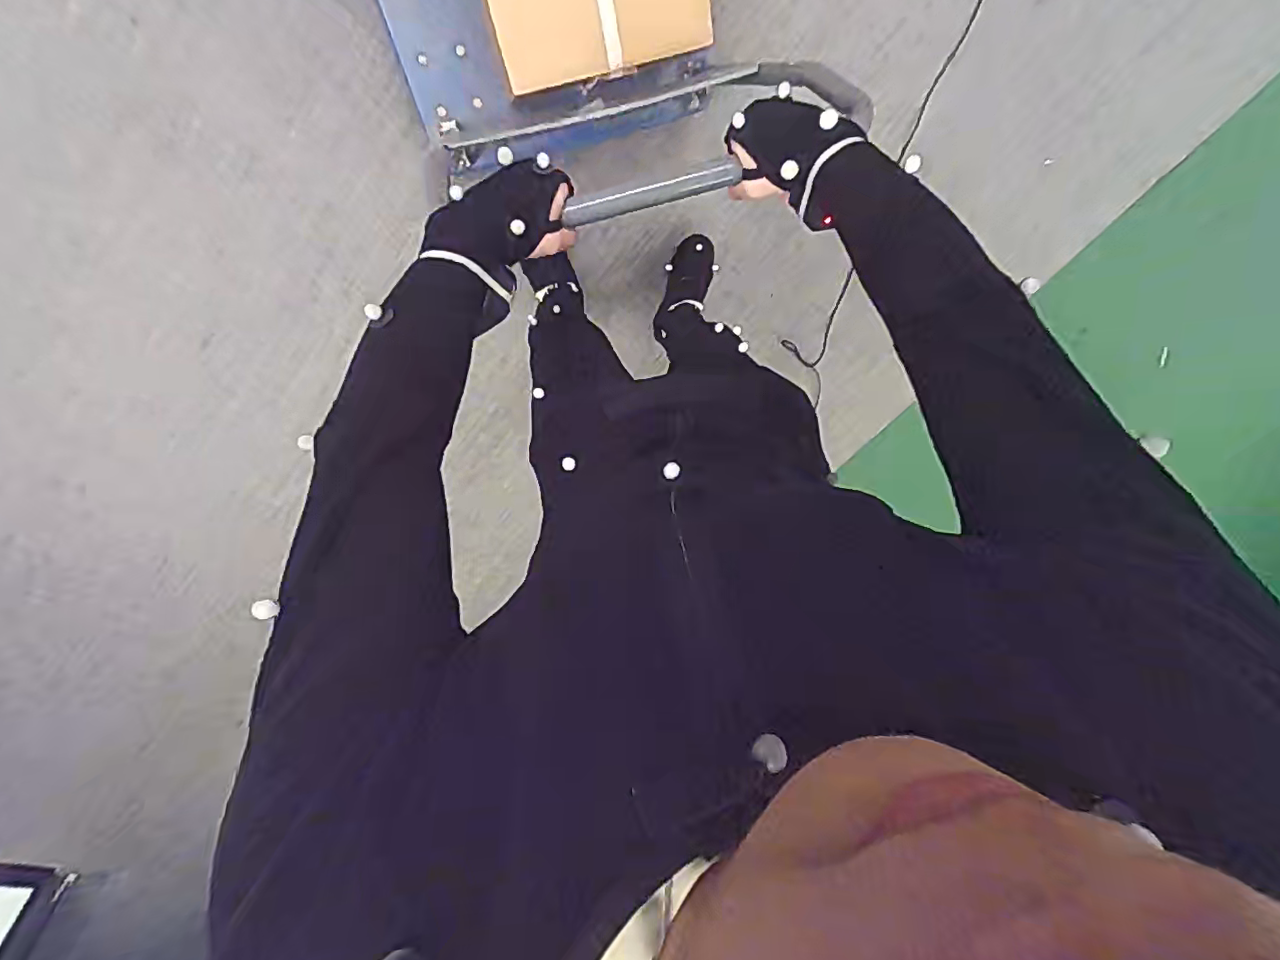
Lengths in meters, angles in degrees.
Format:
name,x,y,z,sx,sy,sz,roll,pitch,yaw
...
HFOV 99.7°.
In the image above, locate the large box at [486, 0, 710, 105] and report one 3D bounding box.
name,x,y,z,sx,sy,sz,roll,pitch,yaw
large box,-0.109,-0.854,0.829,0.320,0.320,0.408,-17,125,-4
